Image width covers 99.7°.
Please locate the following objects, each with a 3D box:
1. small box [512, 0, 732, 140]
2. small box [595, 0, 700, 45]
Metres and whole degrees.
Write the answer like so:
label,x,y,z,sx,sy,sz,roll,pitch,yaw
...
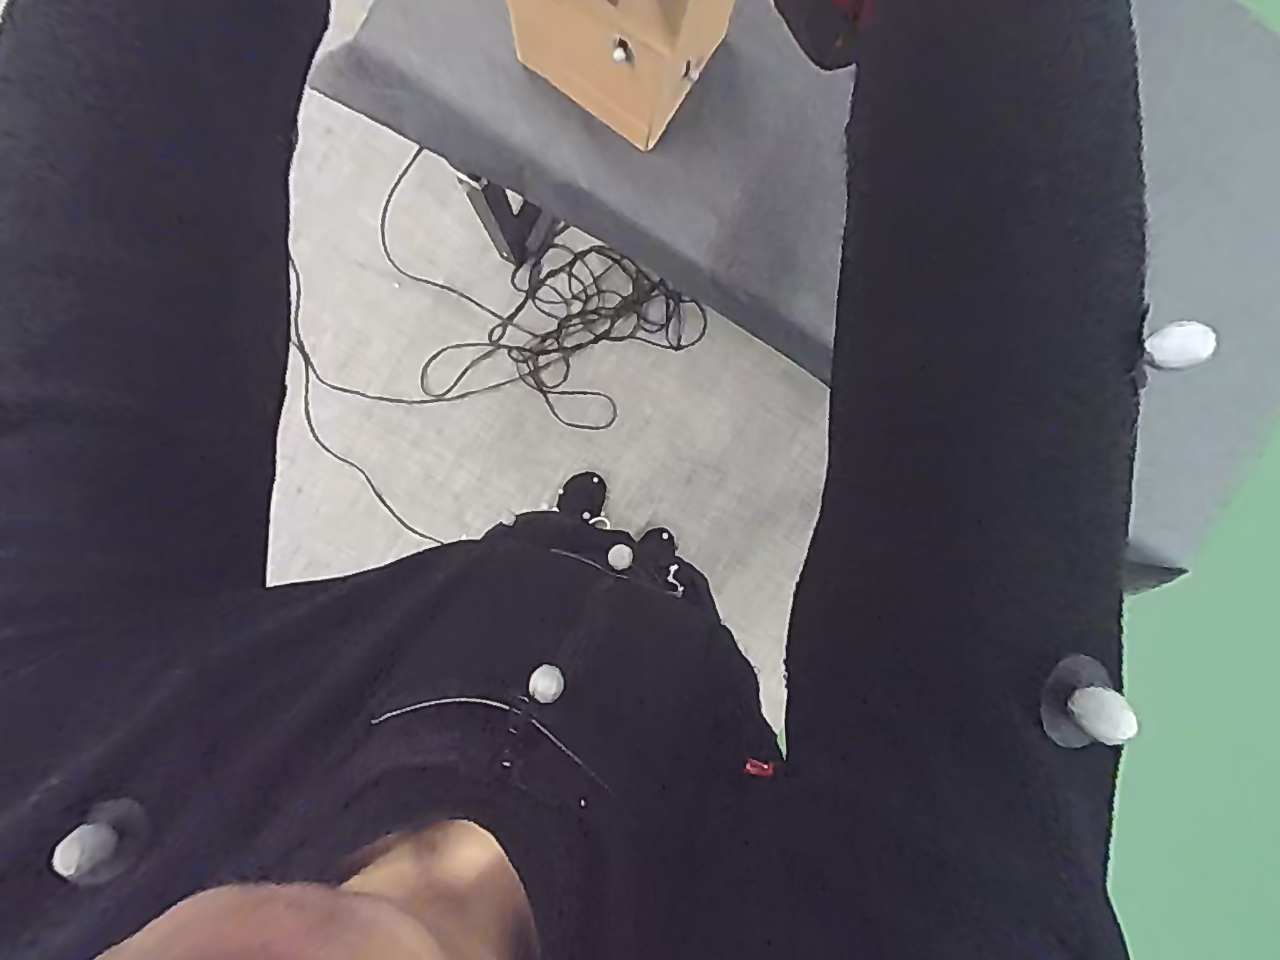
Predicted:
label,x,y,z,sx,sy,sz,roll,pitch,yaw
small box,-0.014,-0.480,0.522,0.179,0.176,0.168,32,91,-7
small box,0.003,-0.459,0.362,0.168,0.176,0.179,27,91,-9
